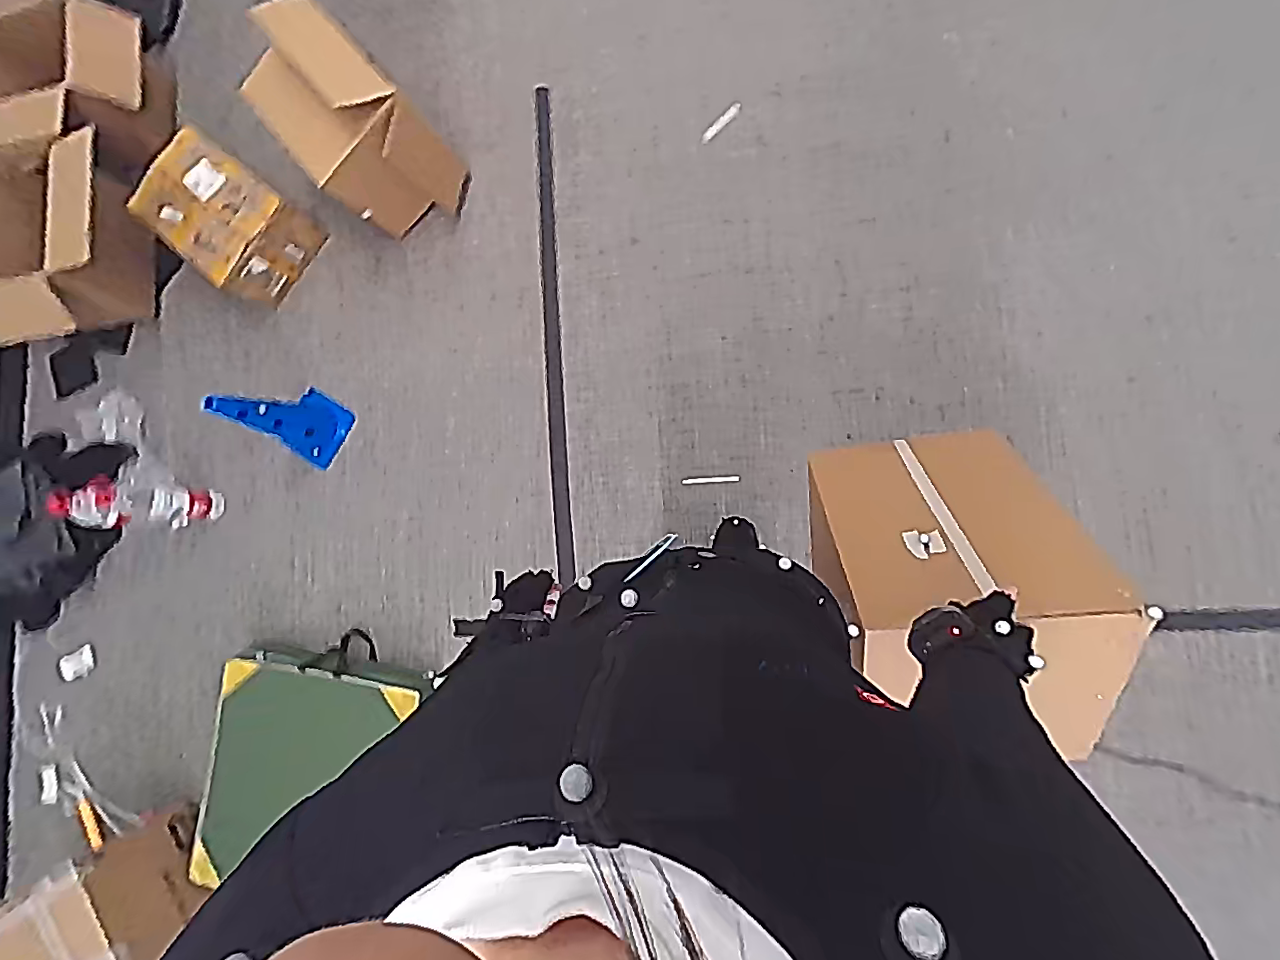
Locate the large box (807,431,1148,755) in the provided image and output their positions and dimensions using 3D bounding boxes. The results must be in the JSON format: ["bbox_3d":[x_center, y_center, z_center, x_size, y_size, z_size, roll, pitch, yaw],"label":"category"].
[{"bbox_3d":[0.465,0.169,0.871,0.320,0.408,0.320,-8,126,12],"label":"large box"}]
